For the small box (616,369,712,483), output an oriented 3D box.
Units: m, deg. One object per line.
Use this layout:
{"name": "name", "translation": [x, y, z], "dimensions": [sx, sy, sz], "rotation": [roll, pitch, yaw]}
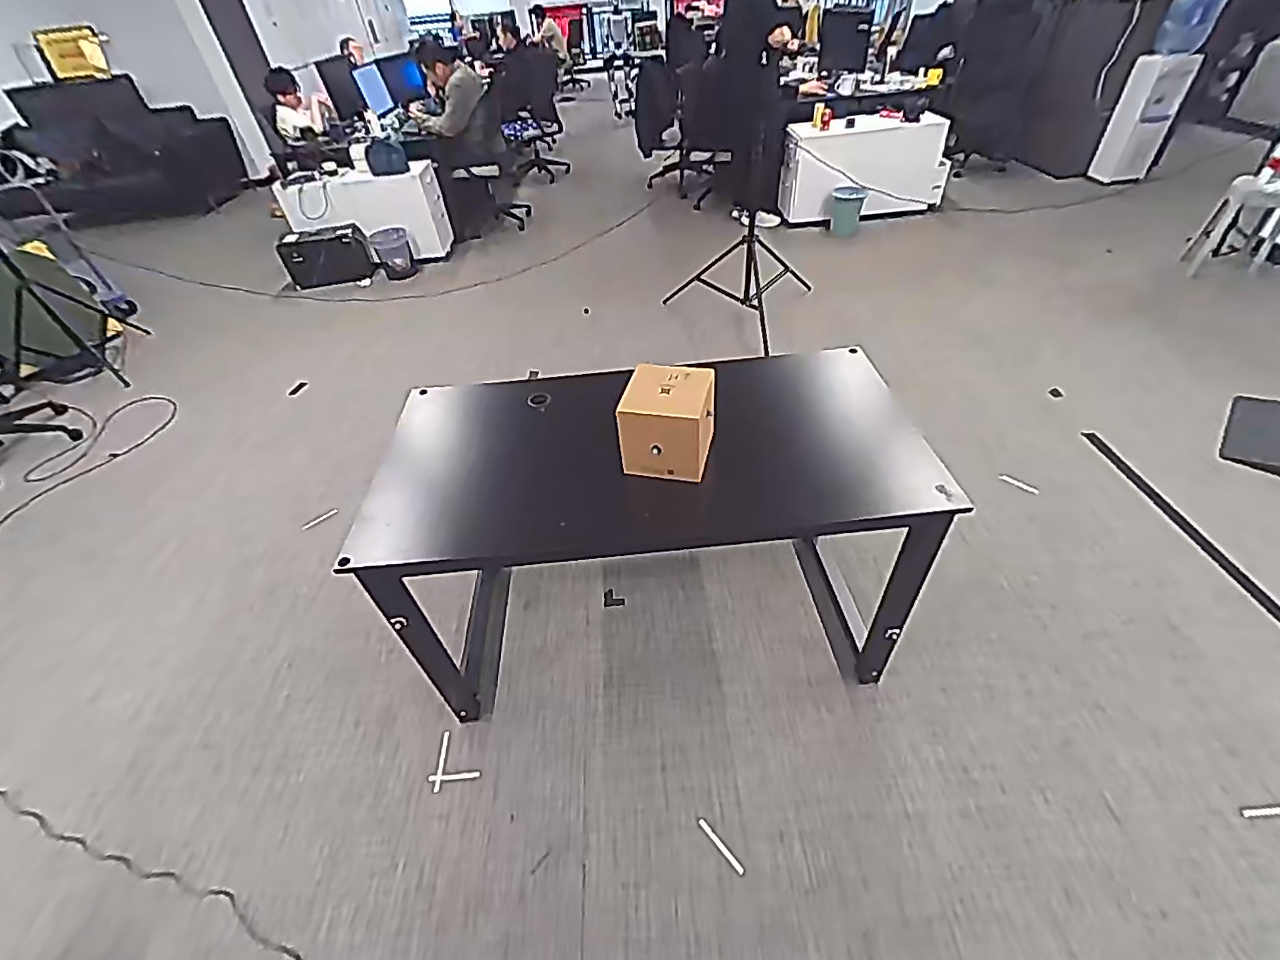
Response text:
{"name": "small box", "translation": [0.059, -0.115, 1.146], "dimensions": [0.168, 0.176, 0.179], "rotation": [7, 44, 14]}
